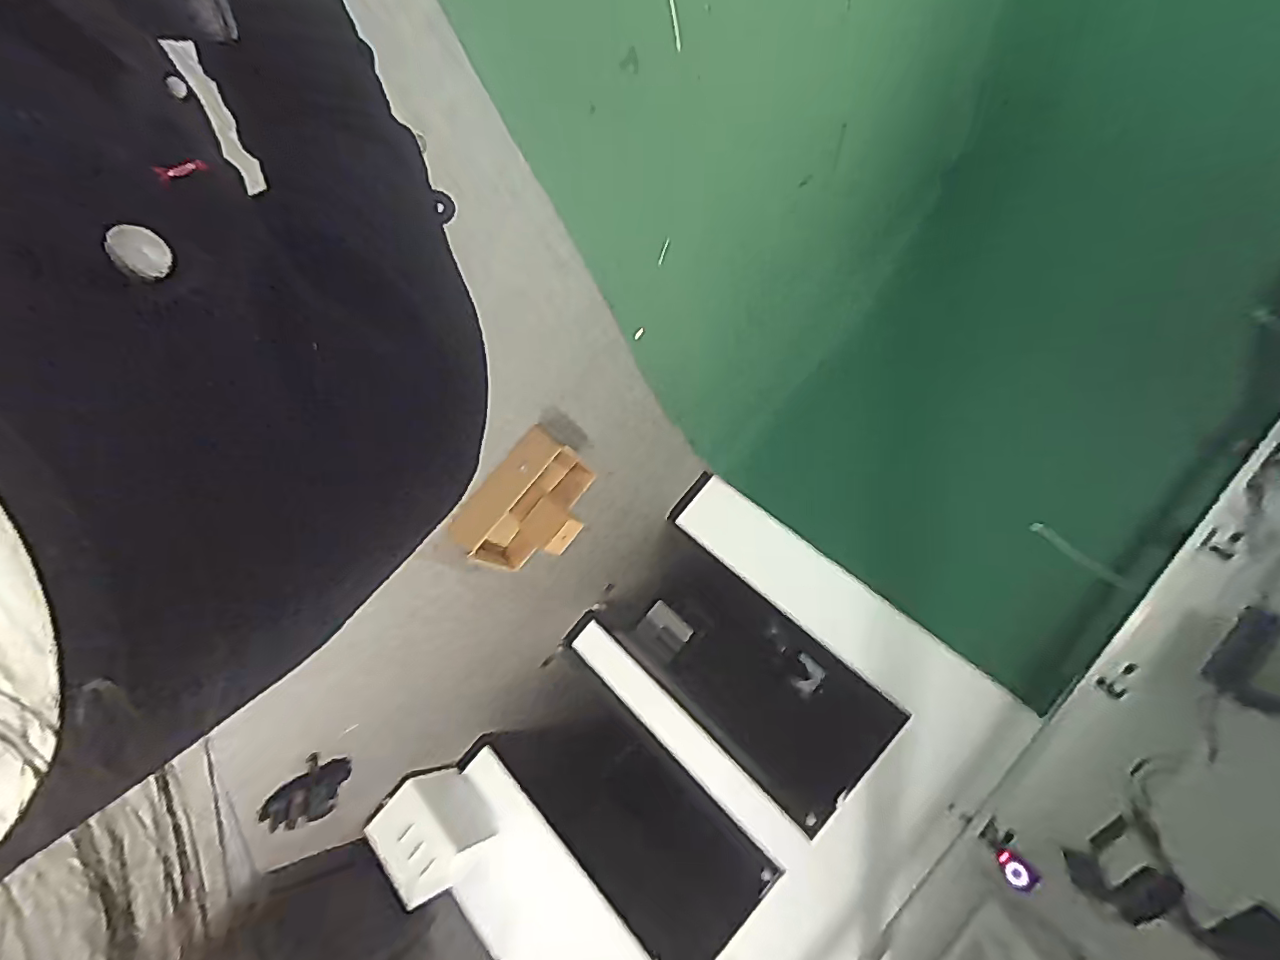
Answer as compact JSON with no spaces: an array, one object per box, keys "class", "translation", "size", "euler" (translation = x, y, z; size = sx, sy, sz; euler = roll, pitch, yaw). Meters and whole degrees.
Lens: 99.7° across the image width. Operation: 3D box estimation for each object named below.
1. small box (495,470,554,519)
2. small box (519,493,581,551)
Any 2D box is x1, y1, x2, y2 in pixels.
[{"class":"small box","translation":[-0.514,0.078,2.417],"size":[0.168,0.176,0.179],"euler":[-50,157,-2]},{"class":"small box","translation":[-0.397,0.182,2.331],"size":[0.179,0.176,0.168],"euler":[-52,157,4]}]
